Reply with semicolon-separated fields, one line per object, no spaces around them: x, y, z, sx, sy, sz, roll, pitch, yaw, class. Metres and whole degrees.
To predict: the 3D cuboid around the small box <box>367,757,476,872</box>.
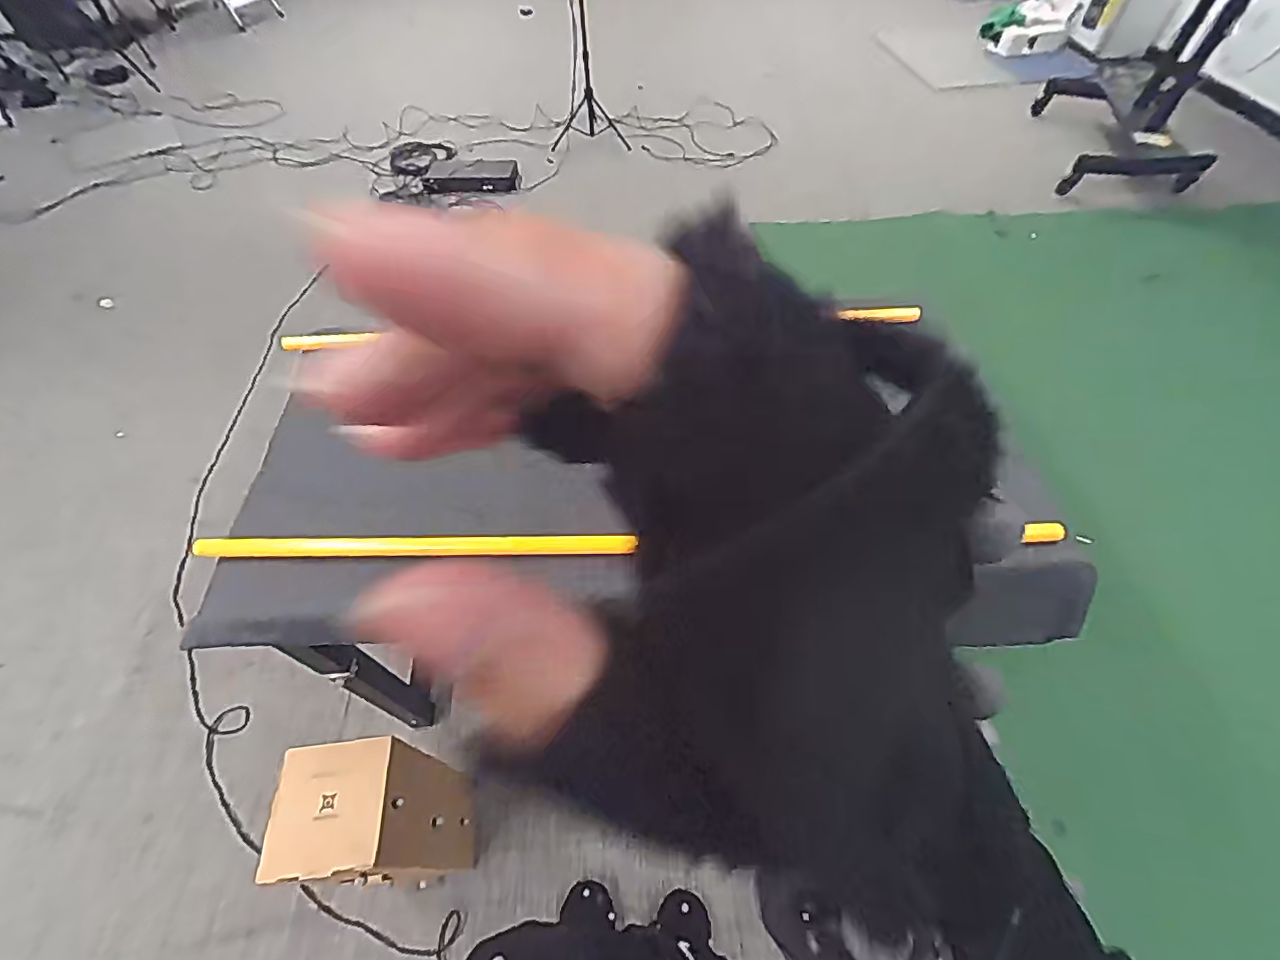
-0.450;0.707;1.140;0.168;0.176;0.179;-9;56;-5;small box
